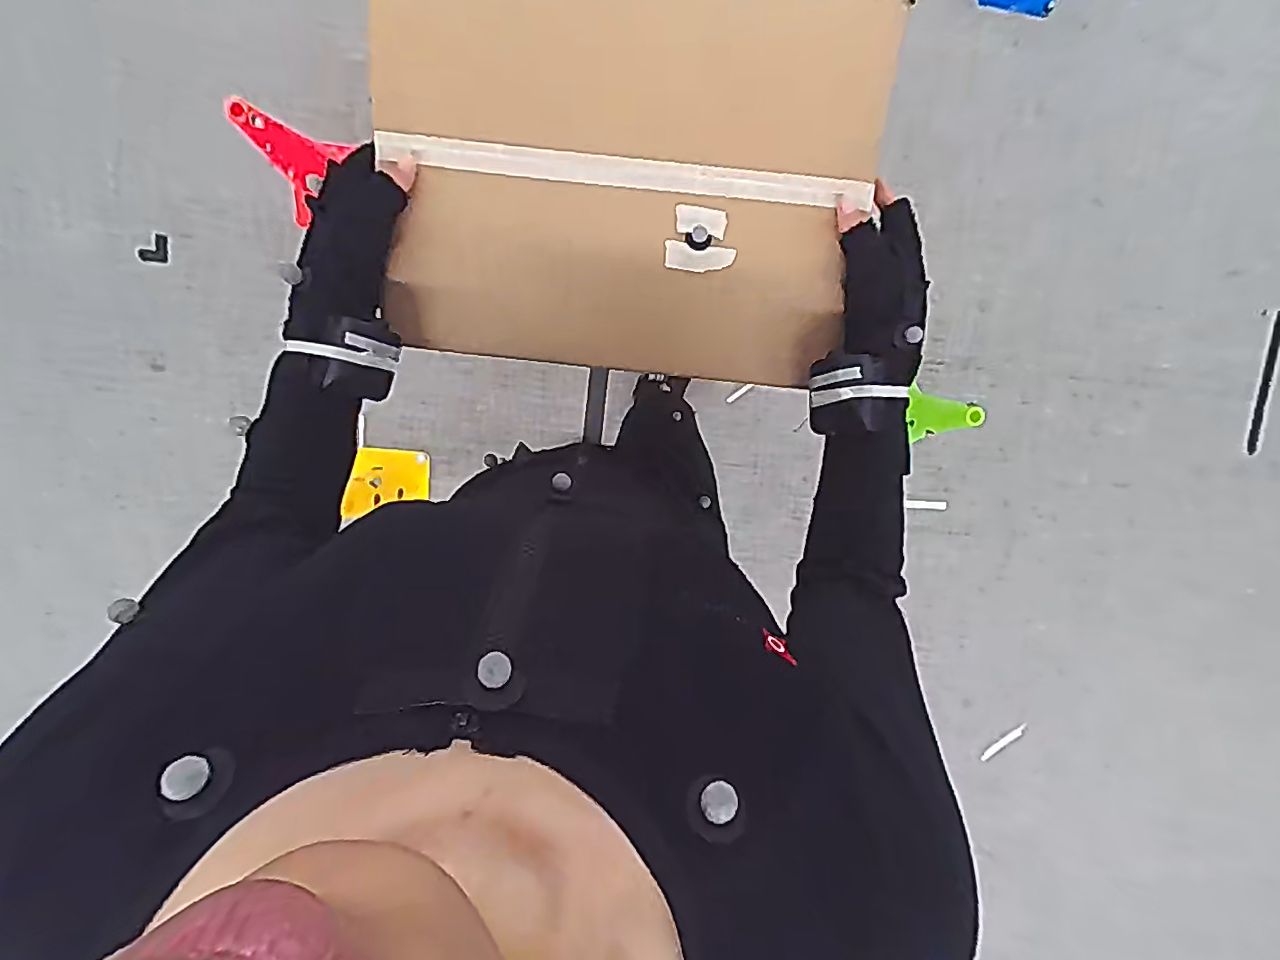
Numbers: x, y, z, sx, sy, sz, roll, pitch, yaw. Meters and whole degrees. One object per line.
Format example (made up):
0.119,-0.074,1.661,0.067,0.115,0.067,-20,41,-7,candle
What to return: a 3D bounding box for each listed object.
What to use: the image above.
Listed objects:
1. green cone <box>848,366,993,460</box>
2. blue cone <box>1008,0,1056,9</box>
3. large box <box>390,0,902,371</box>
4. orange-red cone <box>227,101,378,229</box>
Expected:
0.693,-0.157,1.290,0.202,0.368,0.200,-32,99,1,green cone
0.962,-1.250,1.166,0.192,0.380,0.193,9,98,-4,blue cone
-0.007,-0.300,0.591,0.408,0.320,0.320,6,106,-1,large box
-0.740,-0.699,1.161,0.198,0.360,0.199,3,99,-2,orange-red cone
